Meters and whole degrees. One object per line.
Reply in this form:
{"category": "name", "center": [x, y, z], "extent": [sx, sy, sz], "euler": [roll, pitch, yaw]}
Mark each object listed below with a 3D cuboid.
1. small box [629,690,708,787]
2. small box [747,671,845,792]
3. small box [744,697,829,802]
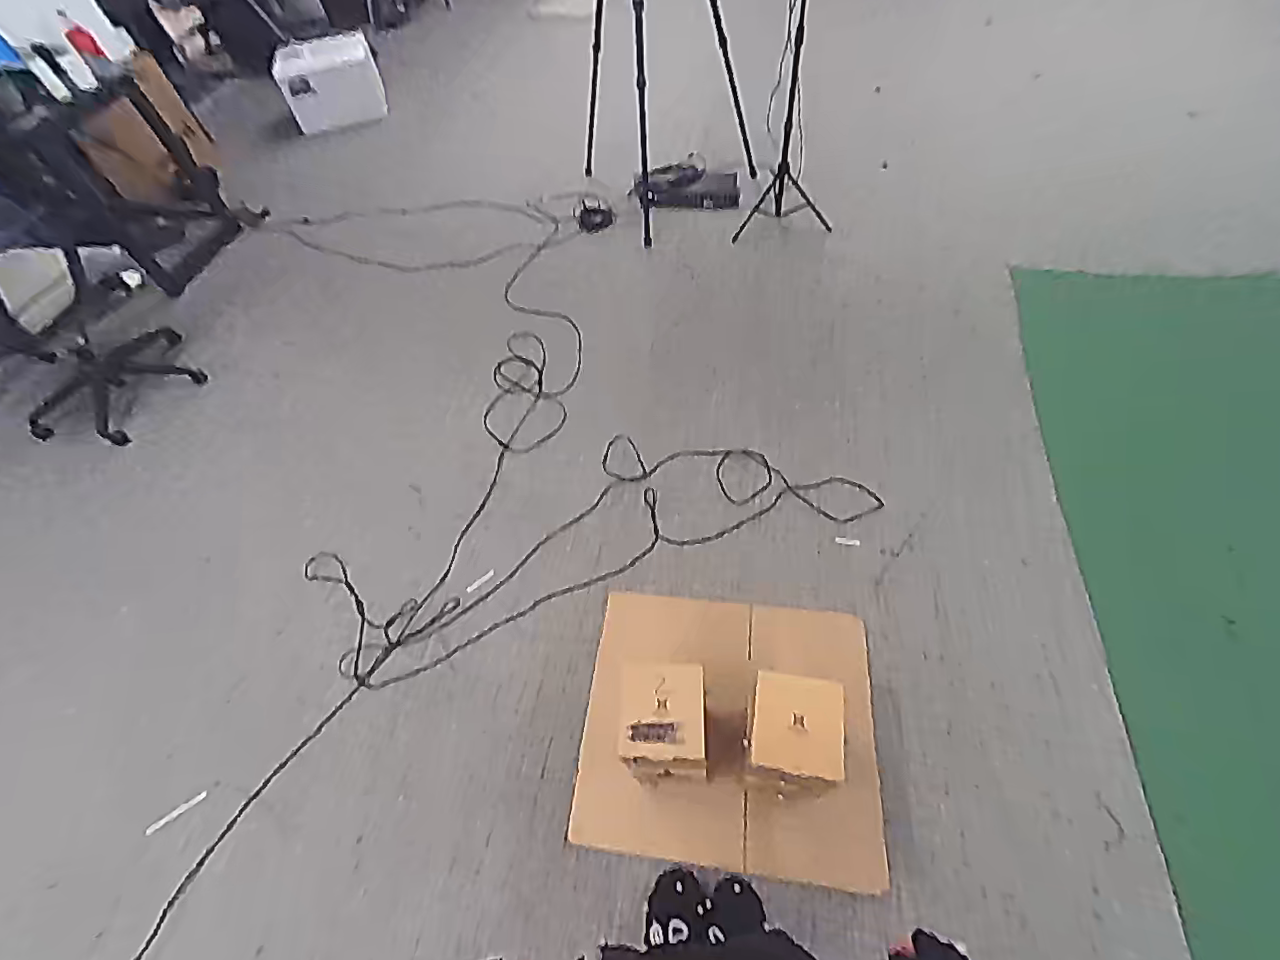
{"category": "small box", "center": [0.071, 0.595, 1.238], "extent": [0.168, 0.176, 0.179], "euler": [0, 55, 7]}
{"category": "small box", "center": [0.306, 0.504, 1.078], "extent": [0.168, 0.176, 0.179], "euler": [6, 57, 11]}
{"category": "small box", "center": [0.321, 0.602, 1.207], "extent": [0.168, 0.176, 0.179], "euler": [2, 56, 10]}
